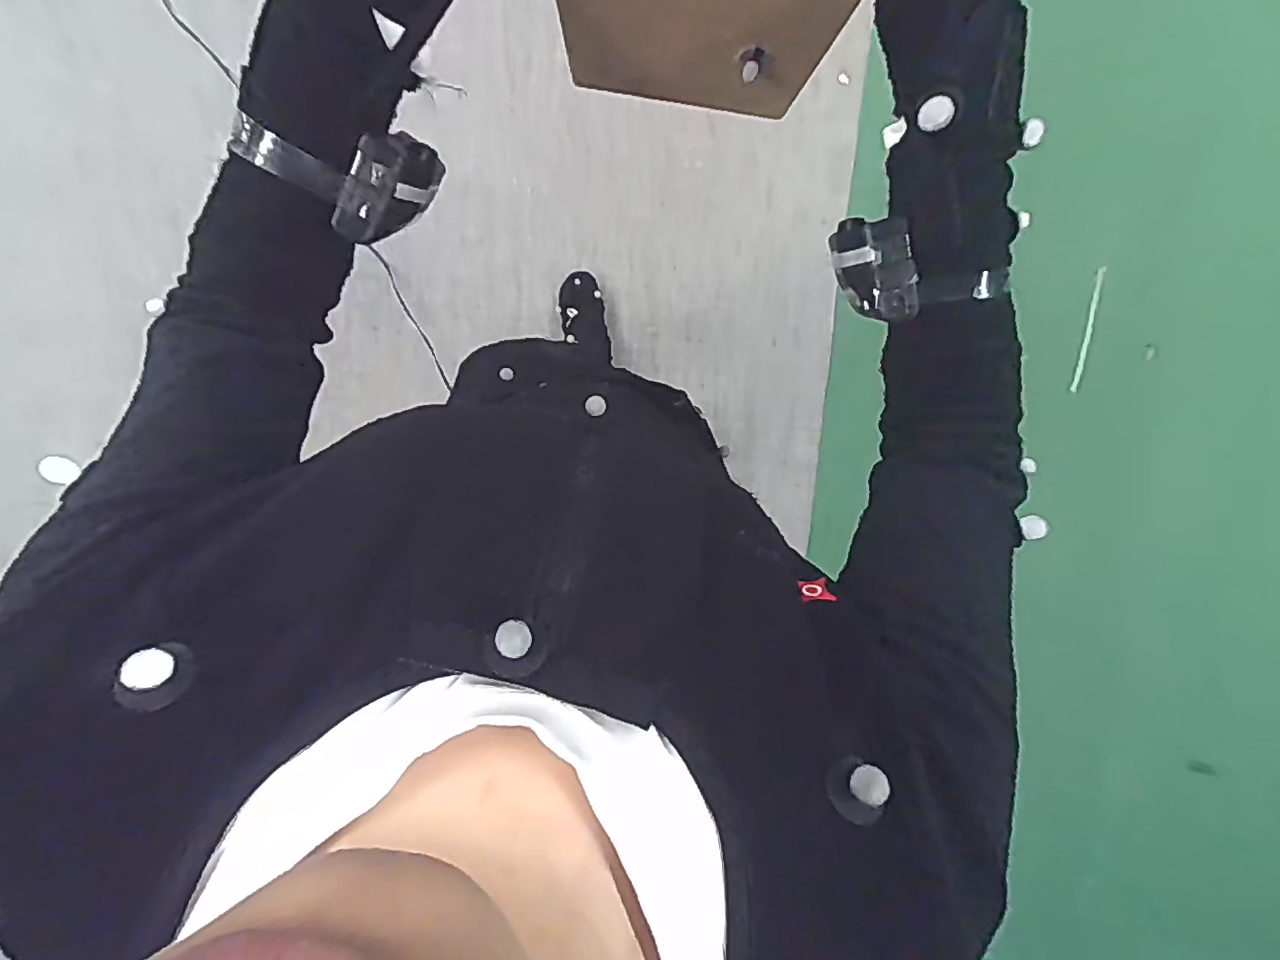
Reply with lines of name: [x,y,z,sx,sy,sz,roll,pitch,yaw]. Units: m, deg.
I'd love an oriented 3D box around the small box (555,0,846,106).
small box: [0.042,-0.372,0.346,0.179,0.176,0.168,7,102,0]
